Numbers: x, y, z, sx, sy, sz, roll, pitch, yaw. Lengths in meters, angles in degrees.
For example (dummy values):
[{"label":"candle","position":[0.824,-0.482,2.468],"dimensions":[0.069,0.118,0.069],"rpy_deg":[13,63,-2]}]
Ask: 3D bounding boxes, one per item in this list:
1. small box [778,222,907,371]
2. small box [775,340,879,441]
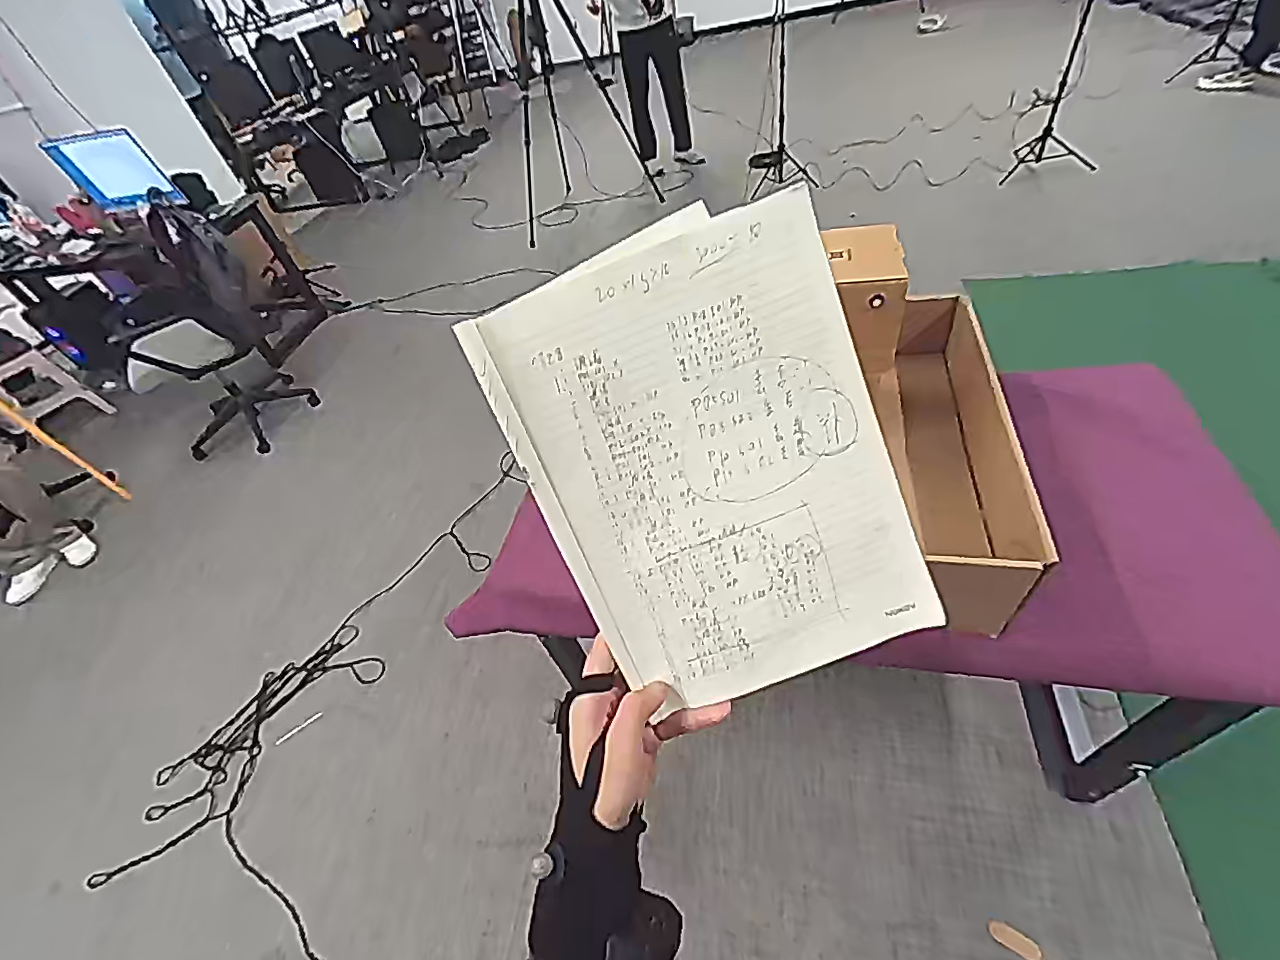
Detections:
[{"label":"small box","position":[0.315,-0.291,0.876],"dimensions":[0.179,0.176,0.168],"rpy_deg":[1,50,14]},{"label":"small box","position":[0.340,-0.187,0.998],"dimensions":[0.168,0.176,0.179],"rpy_deg":[3,50,16]}]
